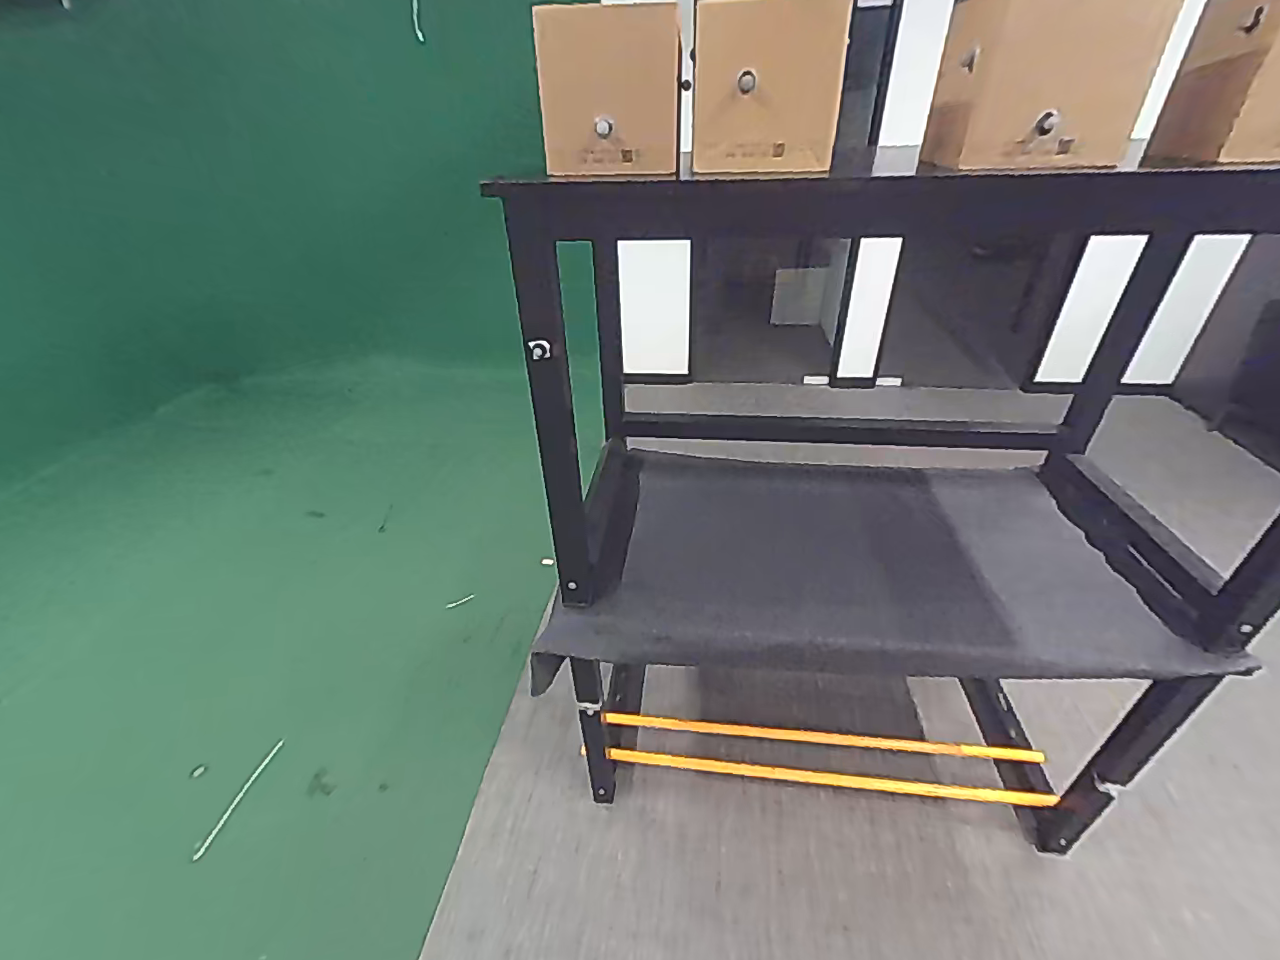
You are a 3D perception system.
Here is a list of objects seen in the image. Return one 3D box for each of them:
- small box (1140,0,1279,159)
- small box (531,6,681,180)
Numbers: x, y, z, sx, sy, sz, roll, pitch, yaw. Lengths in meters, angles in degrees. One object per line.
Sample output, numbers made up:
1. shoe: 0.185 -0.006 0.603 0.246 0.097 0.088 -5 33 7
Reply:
1. small box: 0.719 -0.455 0.597 0.168 0.176 0.179 7 34 14
2. small box: -0.034 -0.501 0.715 0.168 0.176 0.179 2 34 5
